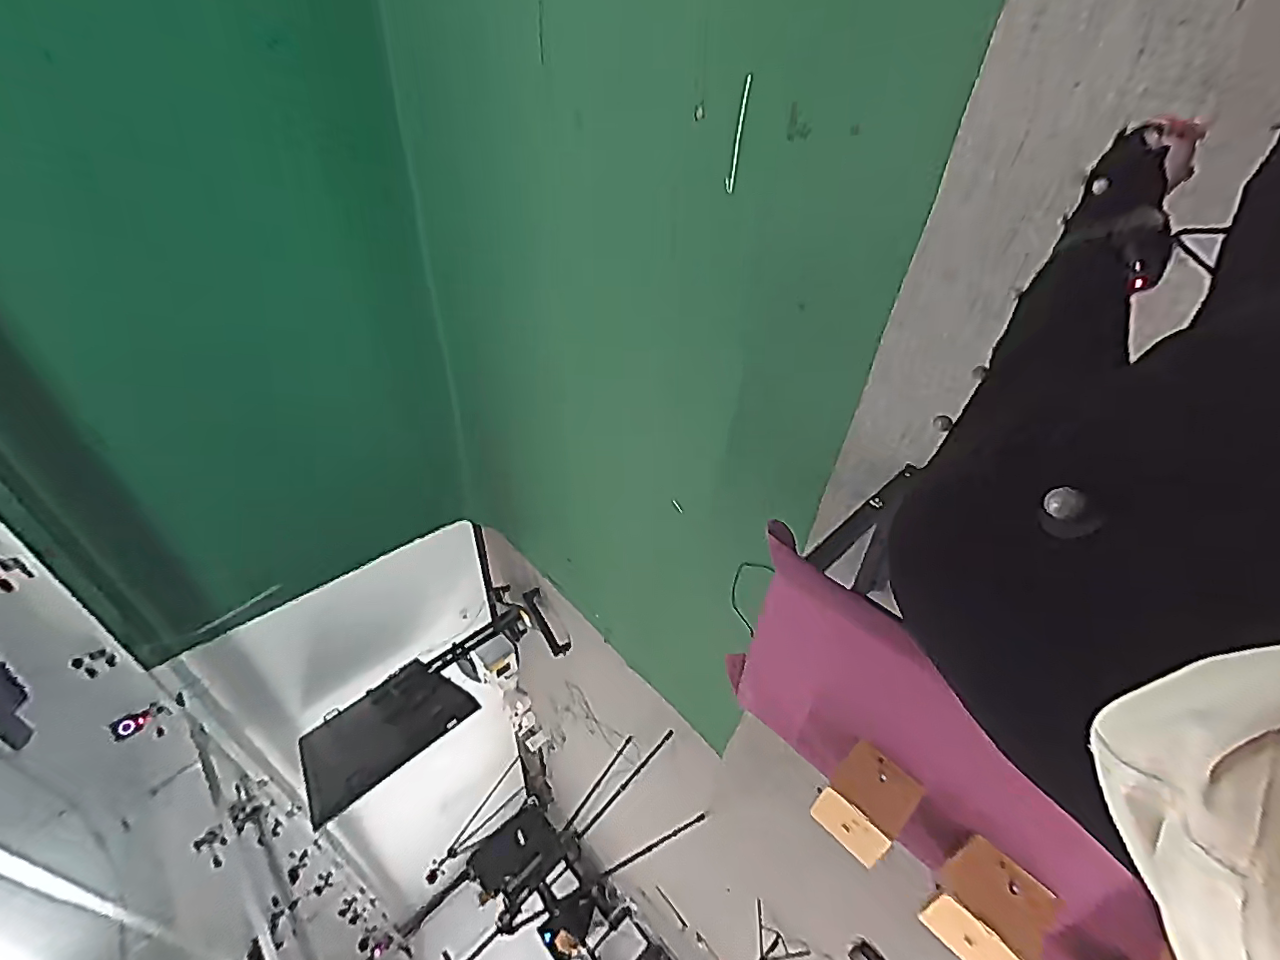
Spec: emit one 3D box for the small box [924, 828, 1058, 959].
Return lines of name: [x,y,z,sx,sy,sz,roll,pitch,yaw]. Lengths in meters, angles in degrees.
small box: [0.762,0.909,1.173,0.168,0.176,0.179,35,138,34]

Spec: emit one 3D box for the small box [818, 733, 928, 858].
small box: [0.570,0.766,1.323,0.168,0.176,0.179,36,139,33]

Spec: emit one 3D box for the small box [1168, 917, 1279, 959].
small box: [0.959,0.838,0.844,0.168,0.176,0.179,33,140,36]
